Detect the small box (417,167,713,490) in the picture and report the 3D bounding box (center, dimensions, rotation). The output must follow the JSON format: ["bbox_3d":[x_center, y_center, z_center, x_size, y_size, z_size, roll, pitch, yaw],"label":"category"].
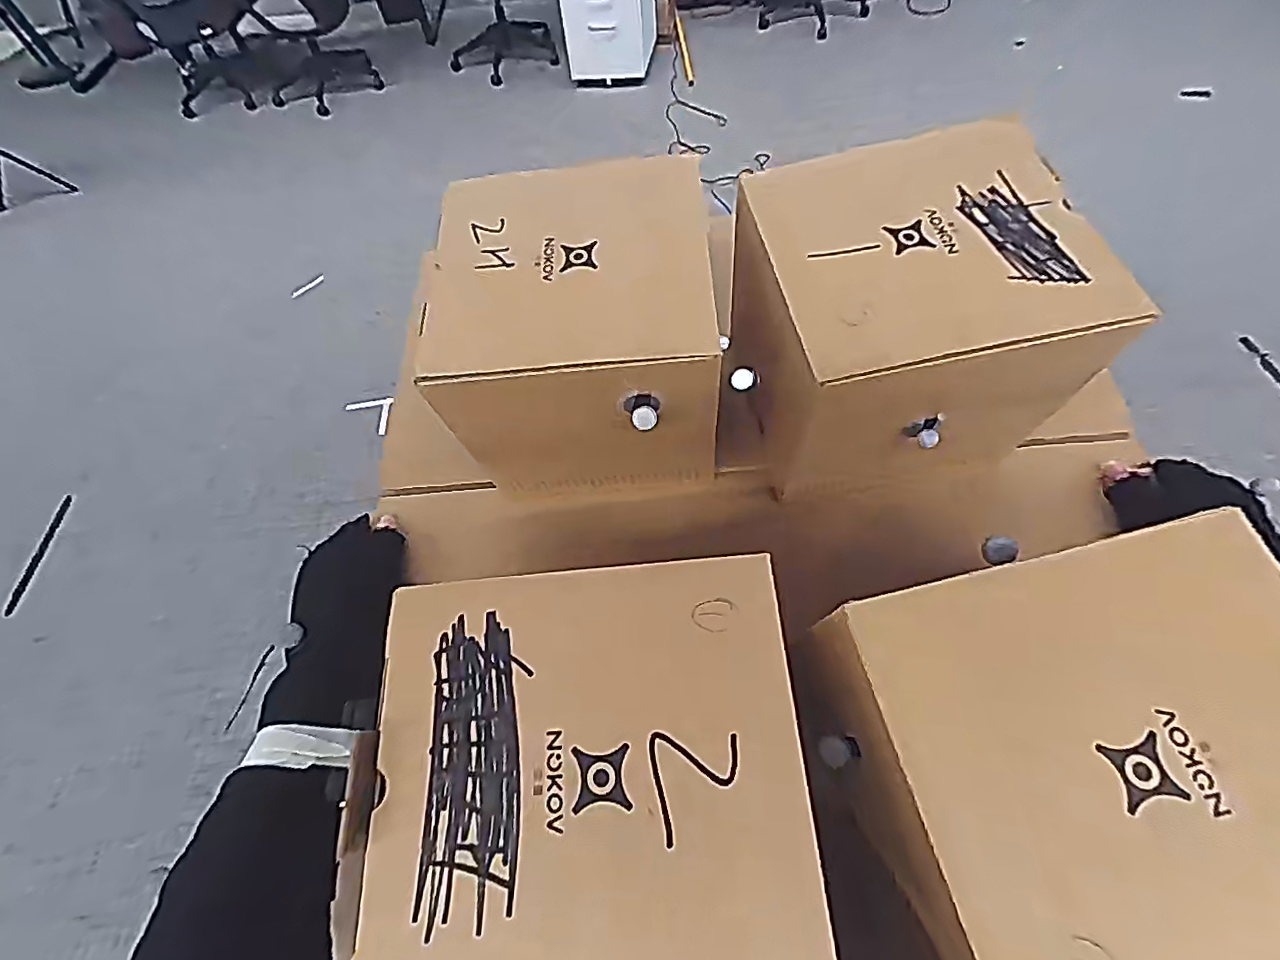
[{"bbox_3d":[-0.038,-0.101,0.416,0.179,0.176,0.168,-4,64,6],"label":"small box"}]
